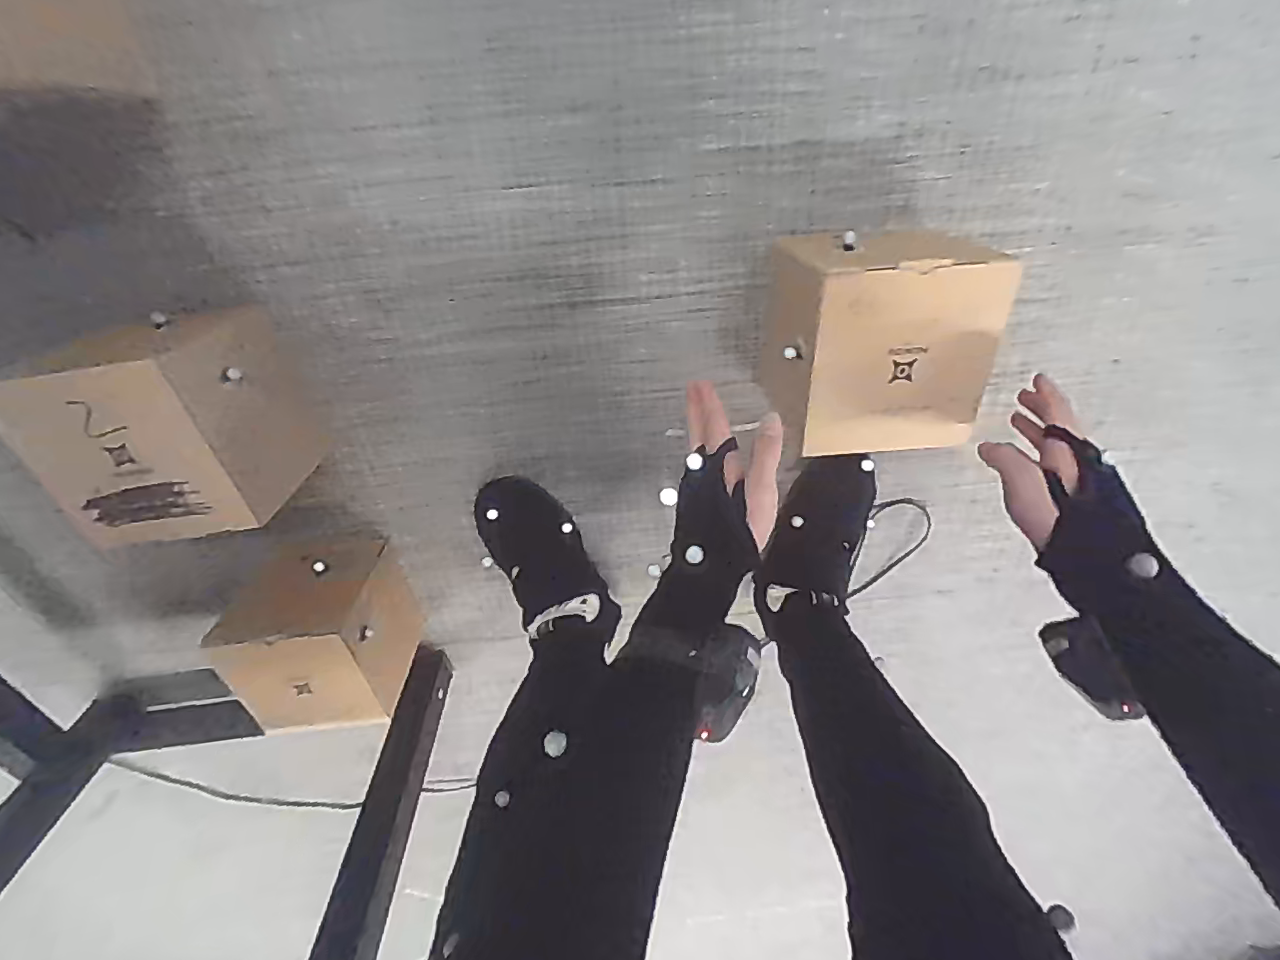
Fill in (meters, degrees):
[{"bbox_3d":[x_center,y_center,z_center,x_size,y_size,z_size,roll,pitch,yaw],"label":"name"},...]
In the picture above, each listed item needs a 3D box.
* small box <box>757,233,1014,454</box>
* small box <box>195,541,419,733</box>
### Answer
[{"bbox_3d":[0.219,-0.145,0.542,0.168,0.176,0.179,-4,122,-1],"label":"small box"},{"bbox_3d":[-0.420,0.206,0.723,0.168,0.176,0.179,-7,122,1],"label":"small box"}]
